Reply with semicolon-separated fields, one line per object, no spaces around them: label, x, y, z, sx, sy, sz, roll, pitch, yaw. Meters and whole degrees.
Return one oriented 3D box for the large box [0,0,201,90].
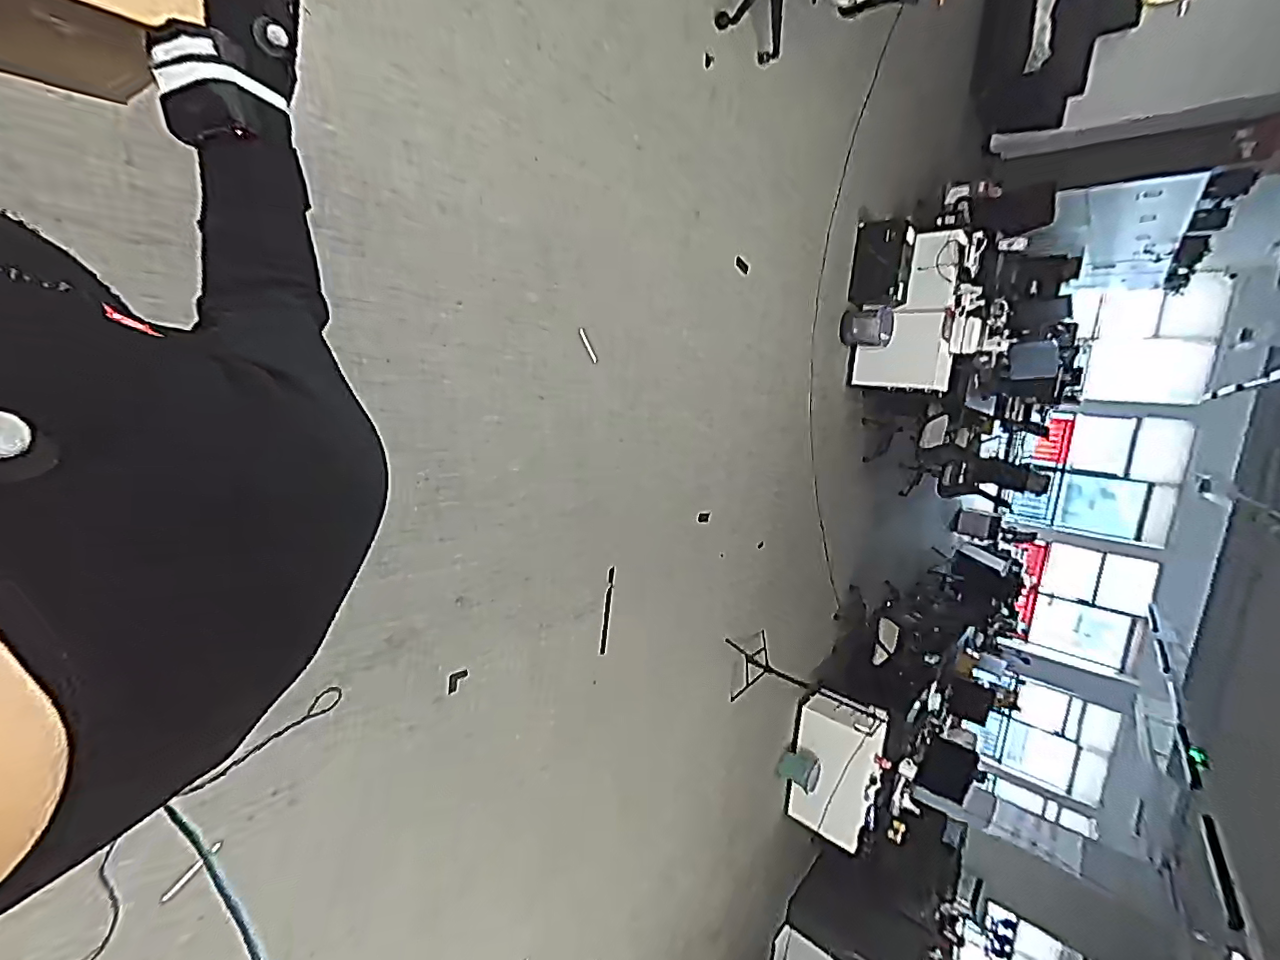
large box;-0.548;-0.475;0.289;0.408;0.320;0.320;-15;118;-49
